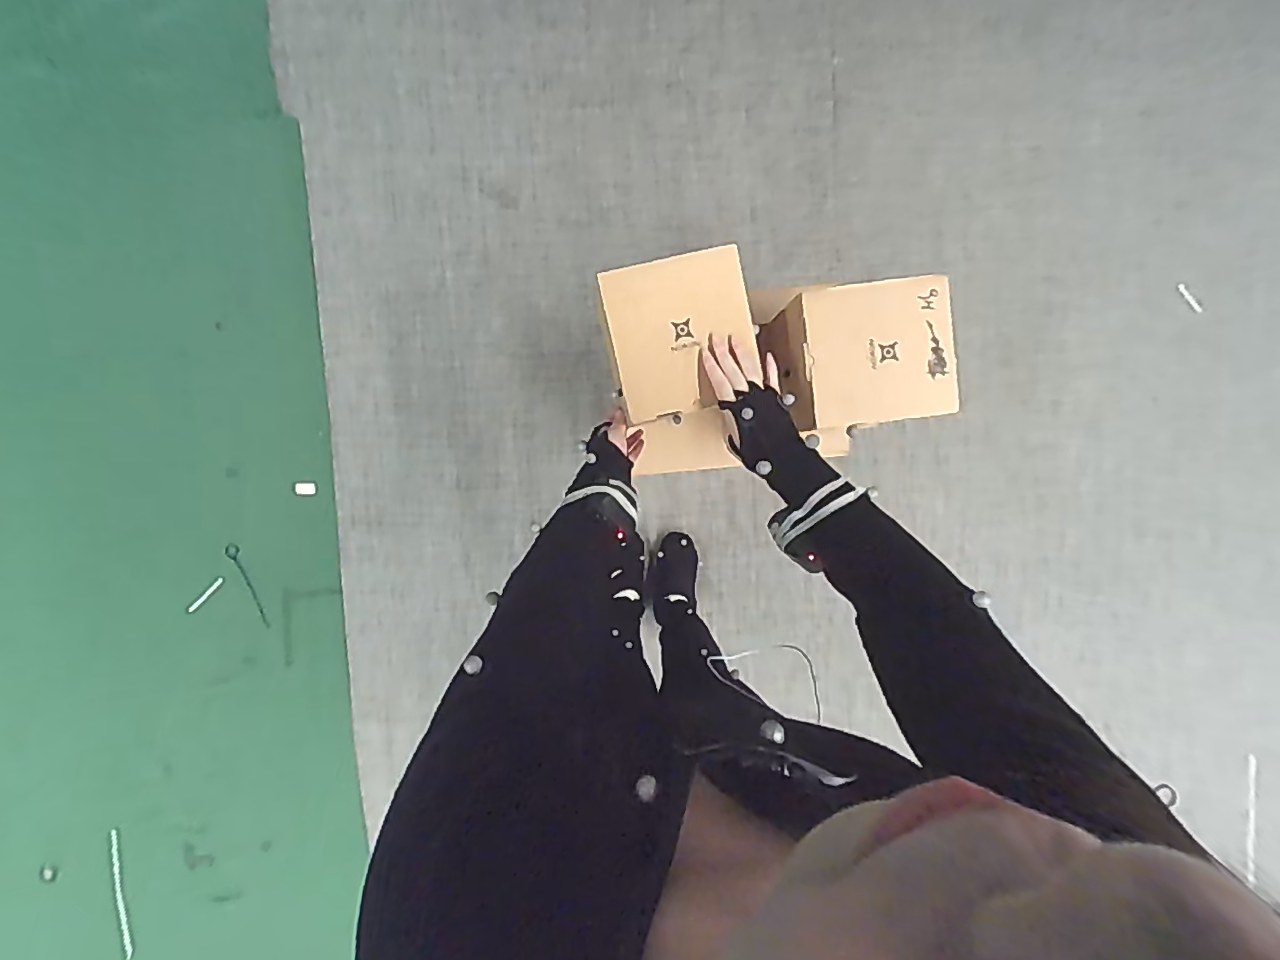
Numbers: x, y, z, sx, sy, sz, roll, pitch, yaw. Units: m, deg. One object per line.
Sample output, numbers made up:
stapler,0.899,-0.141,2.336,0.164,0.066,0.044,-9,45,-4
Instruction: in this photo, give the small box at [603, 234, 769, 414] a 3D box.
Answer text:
small box,0.049,-0.188,0.702,0.168,0.176,0.179,-13,97,-3
